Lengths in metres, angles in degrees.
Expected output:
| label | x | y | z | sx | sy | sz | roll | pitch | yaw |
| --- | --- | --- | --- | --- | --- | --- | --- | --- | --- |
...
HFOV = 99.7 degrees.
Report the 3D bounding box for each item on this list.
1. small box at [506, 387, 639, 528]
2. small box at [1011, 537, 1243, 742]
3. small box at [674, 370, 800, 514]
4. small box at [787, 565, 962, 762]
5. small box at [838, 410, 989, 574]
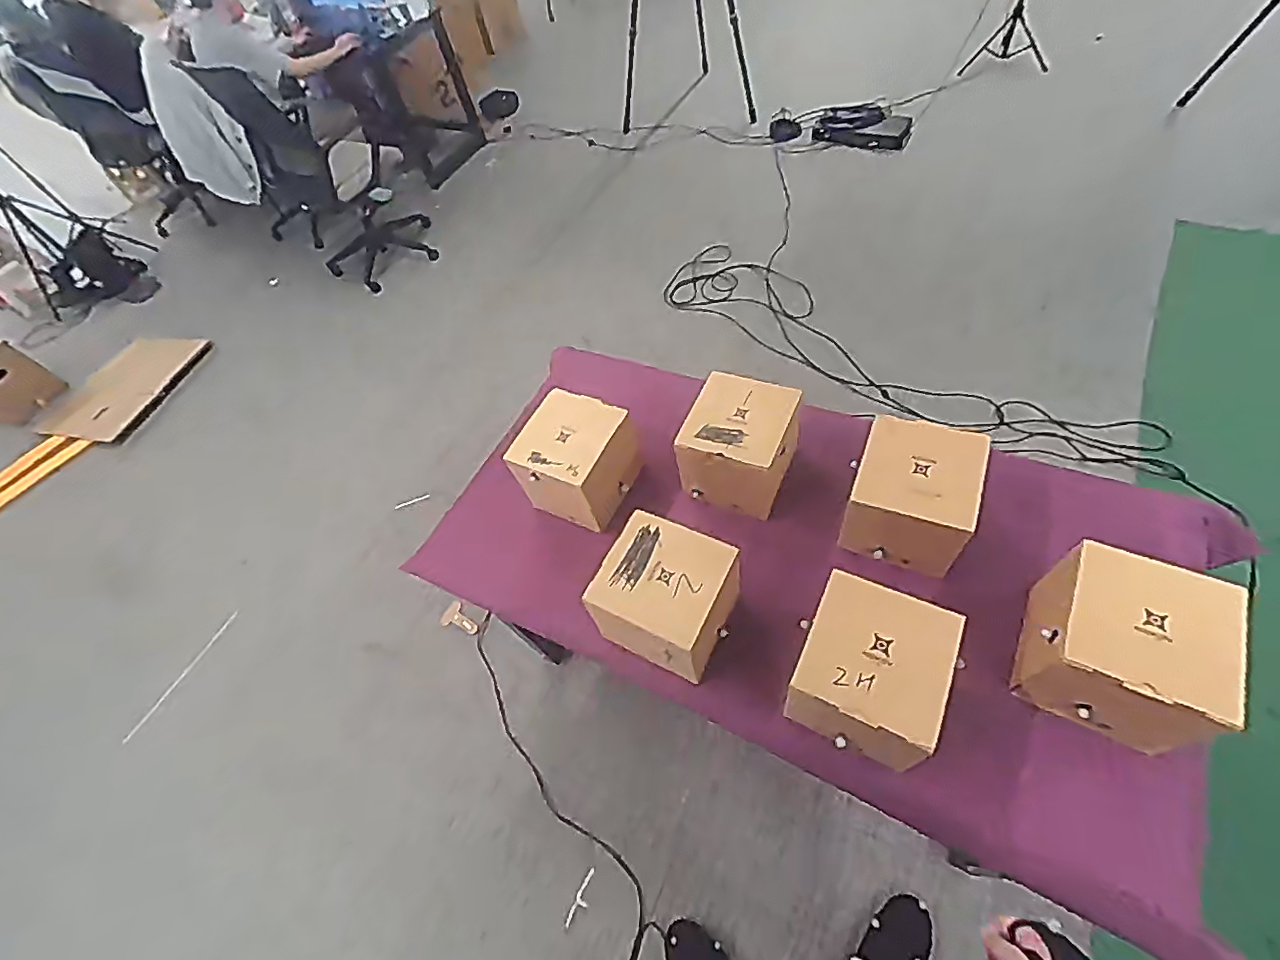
| label | x | y | z | sx | sy | sz | roll | pitch | yaw |
| --- | --- | --- | --- | --- | --- | --- | --- | --- | --- |
| small box | -0.114 | -0.041 | 1.015 | 0.168 | 0.176 | 0.179 | 19 | 62 | 24 |
| small box | 0.614 | 0.209 | 0.701 | 0.168 | 0.176 | 0.179 | 21 | 64 | 24 |
| small box | 0.179 | -0.065 | 0.974 | 0.168 | 0.176 | 0.179 | 18 | 62 | 22 |
| small box | 0.306 | 0.251 | 0.734 | 0.168 | 0.176 | 0.179 | 20 | 62 | 24 |
| small box | 0.427 | 0.021 | 0.866 | 0.168 | 0.176 | 0.179 | 17 | 62 | 22 |
